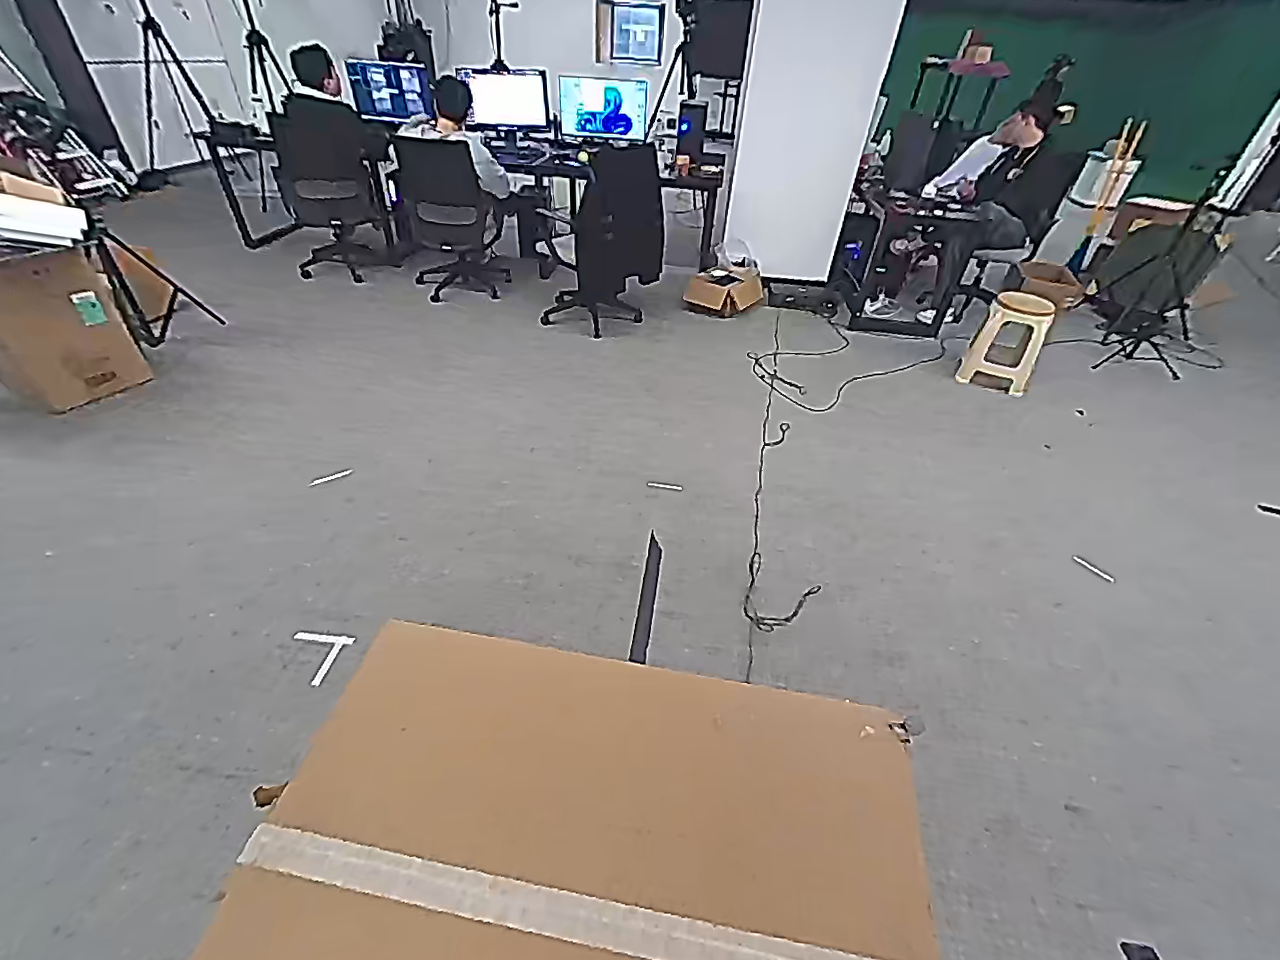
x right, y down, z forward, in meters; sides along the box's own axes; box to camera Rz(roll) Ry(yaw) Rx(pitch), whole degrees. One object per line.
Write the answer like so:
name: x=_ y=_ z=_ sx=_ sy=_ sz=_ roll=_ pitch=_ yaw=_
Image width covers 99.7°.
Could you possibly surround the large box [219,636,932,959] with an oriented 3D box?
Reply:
large box: x=-0.036 y=0.363 z=0.424 sx=0.408 sy=0.320 sz=0.320 roll=9 pitch=46 yaw=5
